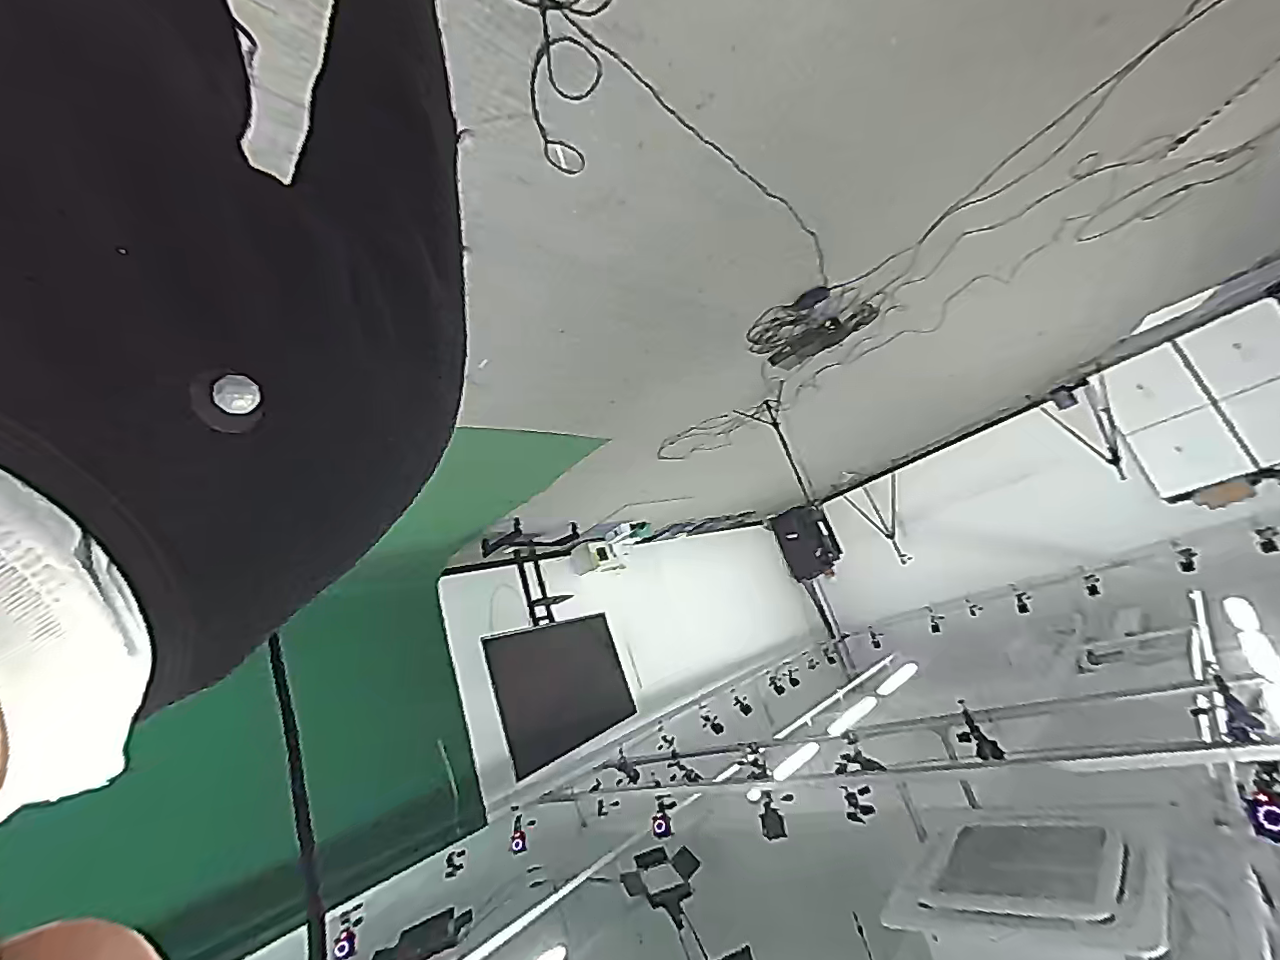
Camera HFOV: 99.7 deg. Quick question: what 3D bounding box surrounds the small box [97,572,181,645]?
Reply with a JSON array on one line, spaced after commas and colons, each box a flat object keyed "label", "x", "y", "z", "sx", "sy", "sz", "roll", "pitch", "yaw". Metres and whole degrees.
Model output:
[{"label": "small box", "x": -1.579, "y": 0.400, "z": 1.701, "sx": 0.168, "sy": 0.176, "sz": 0.179, "roll": -28, "pitch": 162, "yaw": 36}]
